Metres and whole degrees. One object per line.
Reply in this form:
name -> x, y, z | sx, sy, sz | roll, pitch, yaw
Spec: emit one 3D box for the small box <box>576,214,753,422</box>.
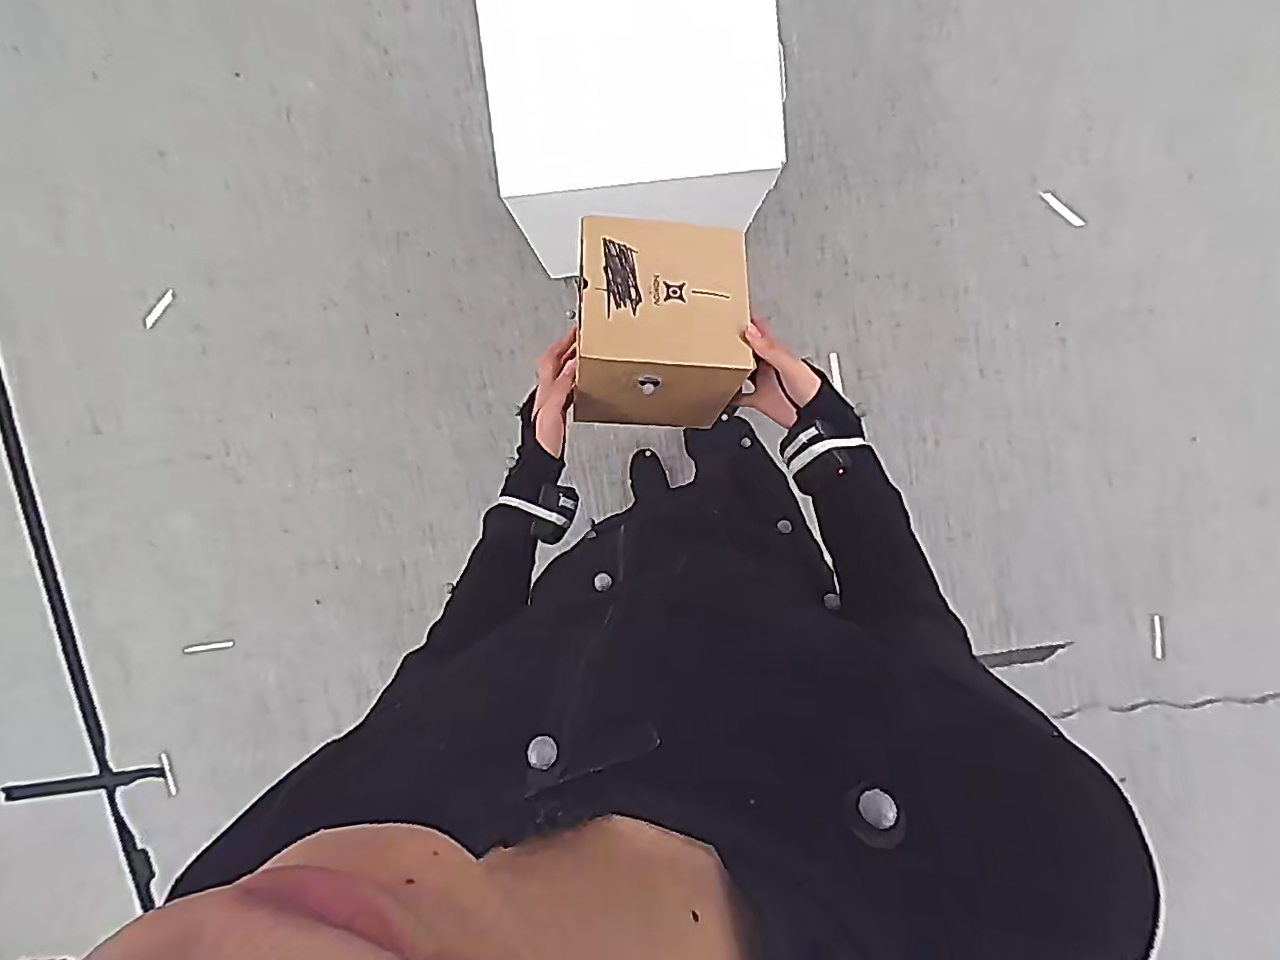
small box -> 0.016, -0.173, 0.622 | 0.179, 0.176, 0.168 | 1, 75, -8
